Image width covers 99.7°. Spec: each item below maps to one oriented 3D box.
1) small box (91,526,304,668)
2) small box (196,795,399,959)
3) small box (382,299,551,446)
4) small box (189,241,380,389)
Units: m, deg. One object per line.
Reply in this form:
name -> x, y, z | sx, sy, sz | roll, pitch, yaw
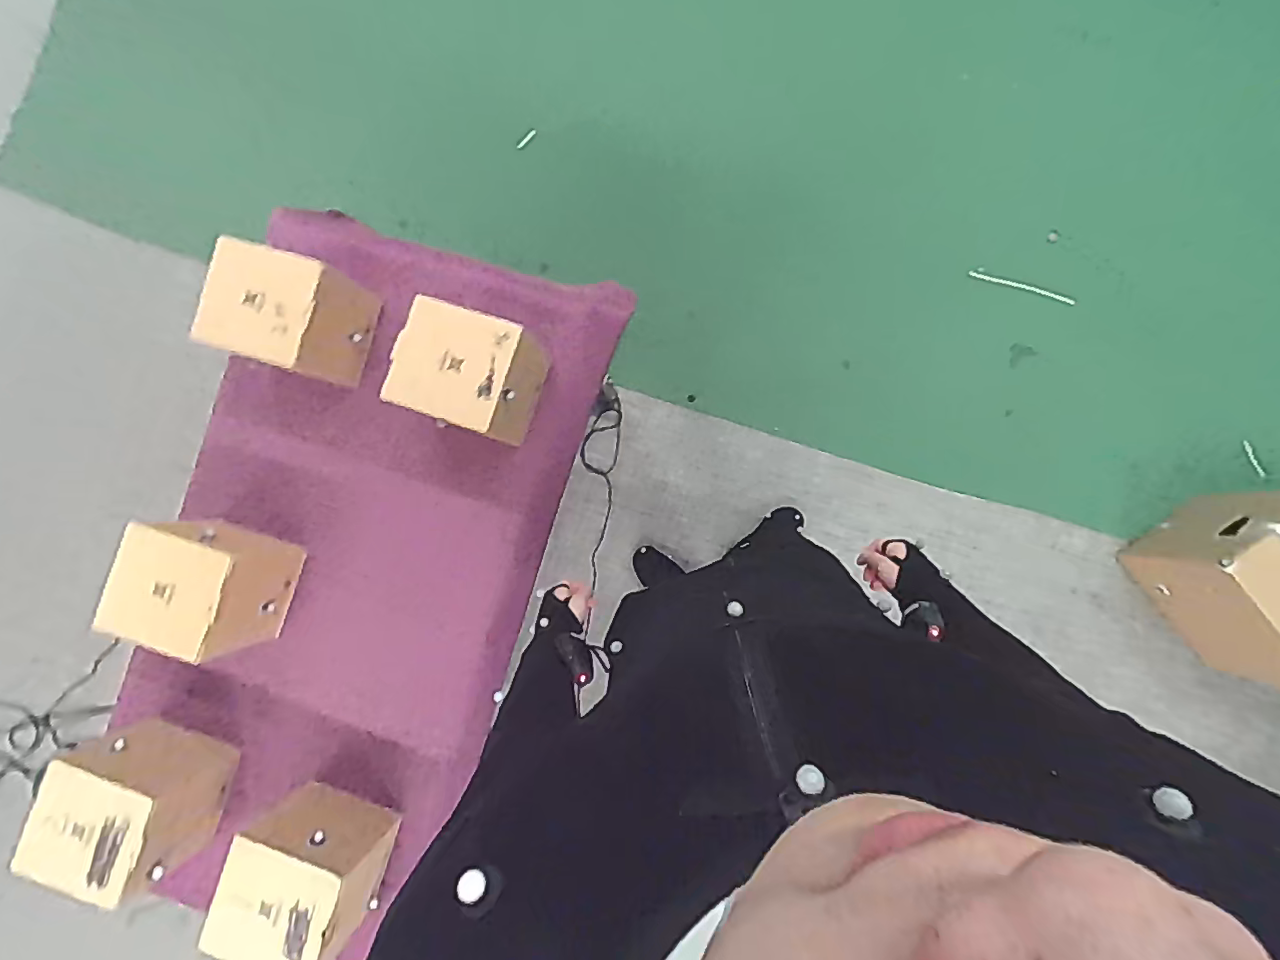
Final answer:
small box -> -0.694, 0.178, 0.869 | 0.179, 0.176, 0.168 | 17, 87, 3
small box -> -0.504, 0.619, 0.825 | 0.179, 0.176, 0.168 | 17, 87, 5
small box -> -0.265, -0.161, 0.865 | 0.179, 0.176, 0.168 | 18, 89, 7
small box -> -0.569, -0.259, 0.887 | 0.179, 0.176, 0.168 | 16, 90, 4
